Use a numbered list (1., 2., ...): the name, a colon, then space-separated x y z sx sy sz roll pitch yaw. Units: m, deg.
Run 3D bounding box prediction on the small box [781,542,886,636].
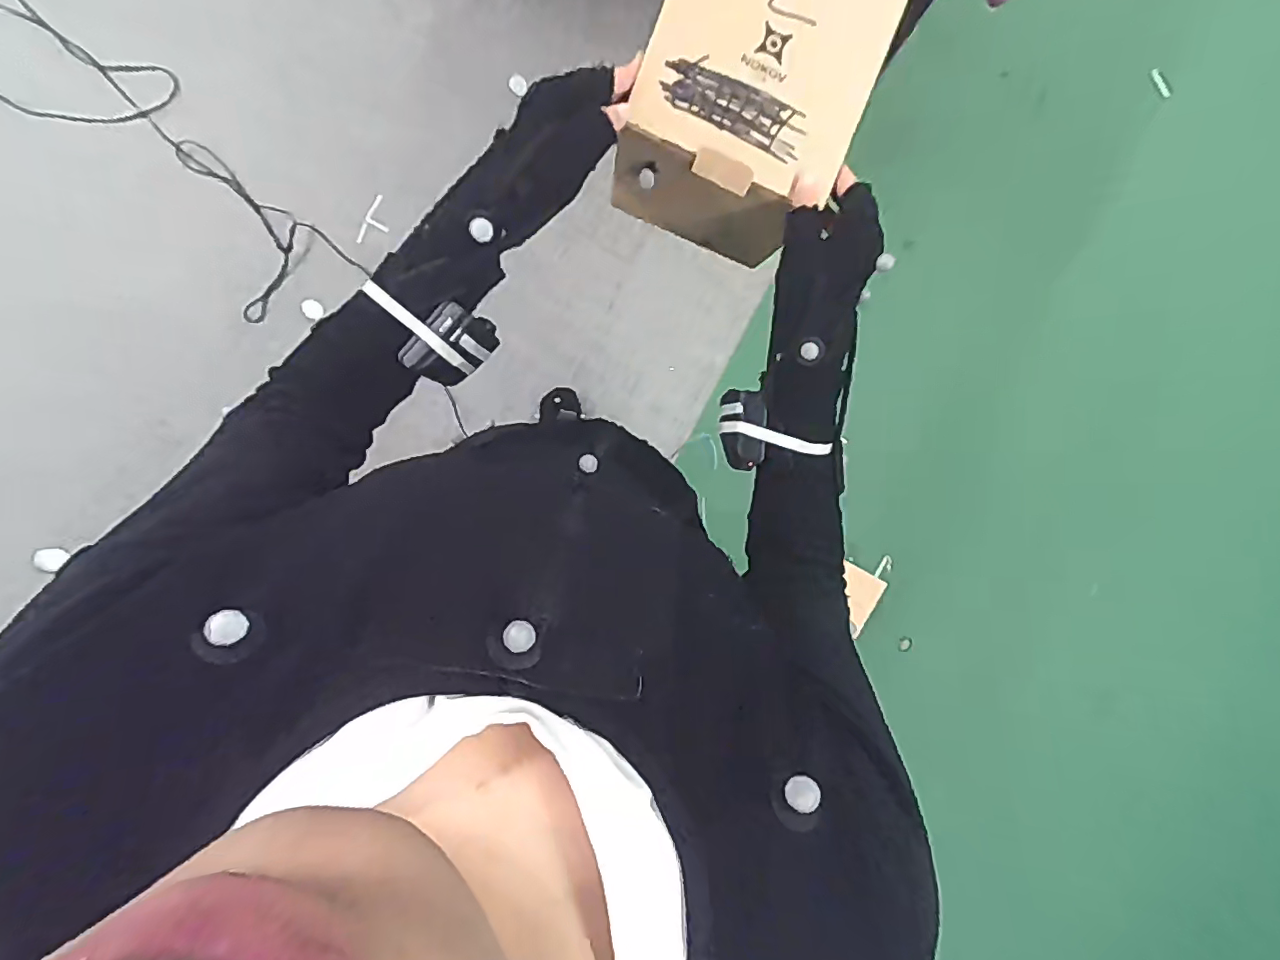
1. small box: 0.502 0.280 1.436 0.179 0.176 0.168 29 94 -5
